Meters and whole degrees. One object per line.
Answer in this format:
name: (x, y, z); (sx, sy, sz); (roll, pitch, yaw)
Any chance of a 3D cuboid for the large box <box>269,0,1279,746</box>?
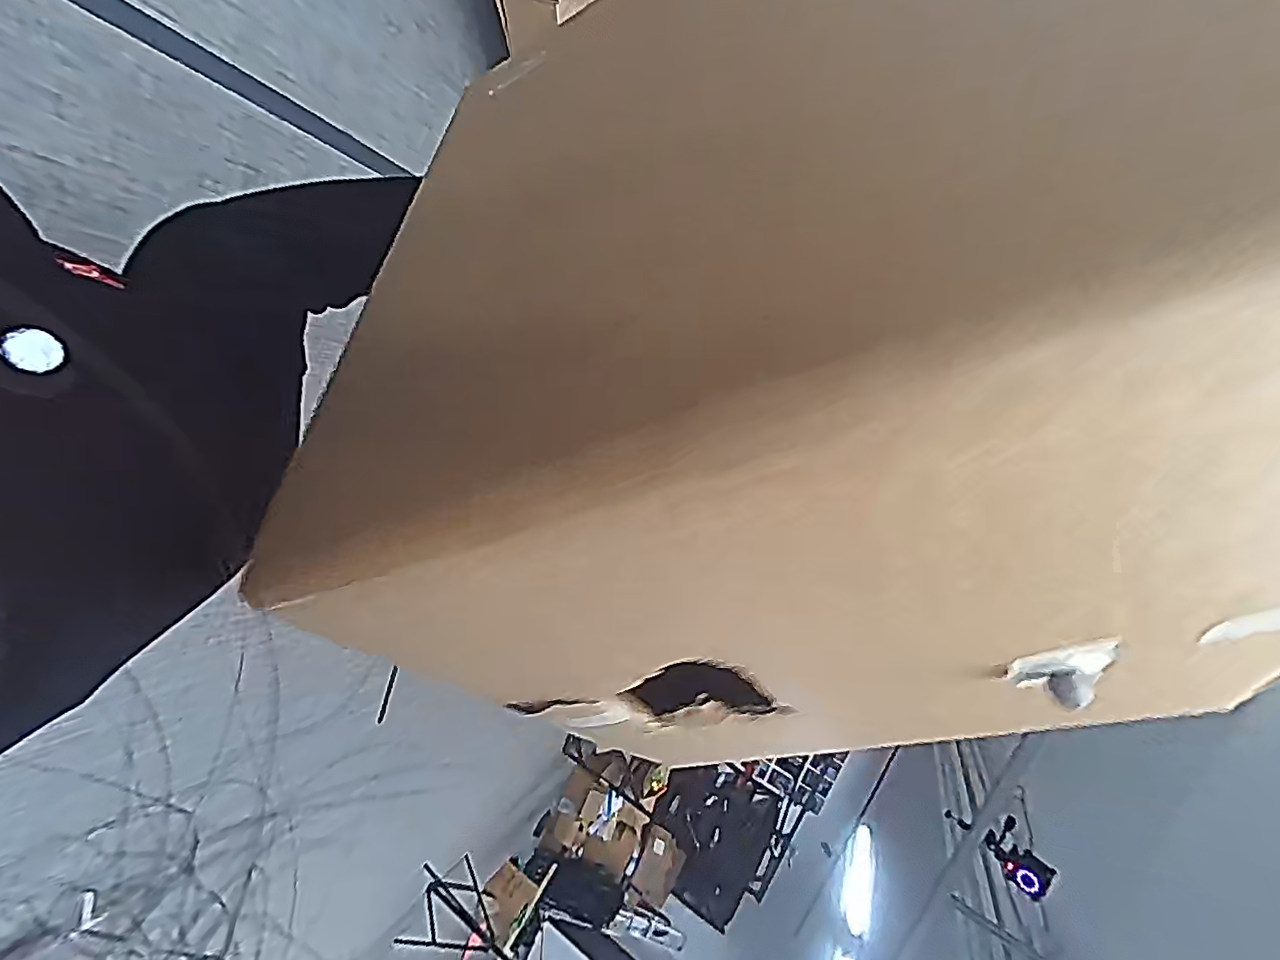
large box: (0.083, -0.093, 0.339); (0.320, 0.320, 0.408); (52, 28, -47)
